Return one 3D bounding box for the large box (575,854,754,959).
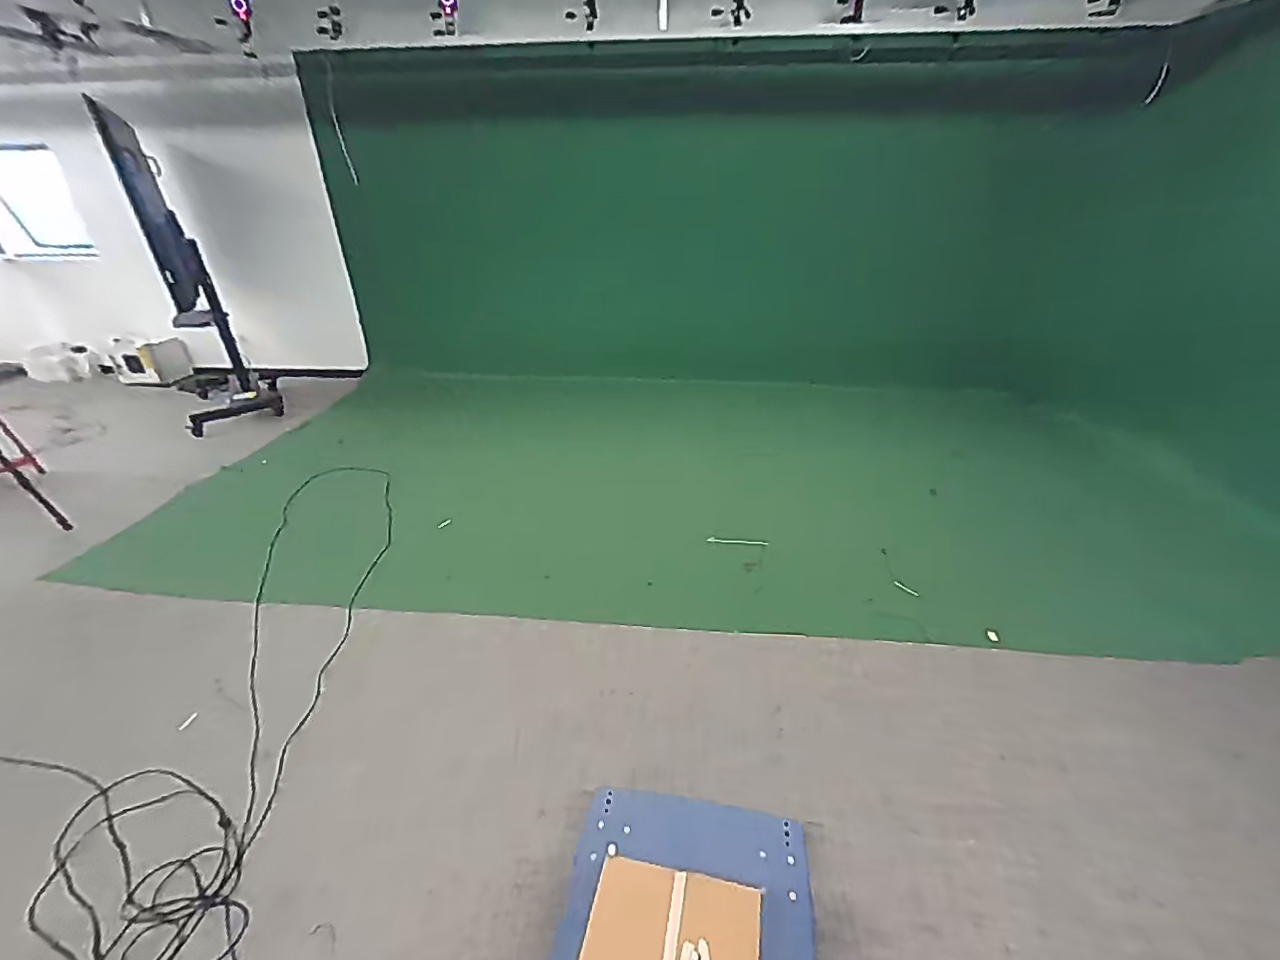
[{"bbox_3d":[0.032,1.003,0.979,0.320,0.320,0.408,7,29,11],"label":"large box"}]
